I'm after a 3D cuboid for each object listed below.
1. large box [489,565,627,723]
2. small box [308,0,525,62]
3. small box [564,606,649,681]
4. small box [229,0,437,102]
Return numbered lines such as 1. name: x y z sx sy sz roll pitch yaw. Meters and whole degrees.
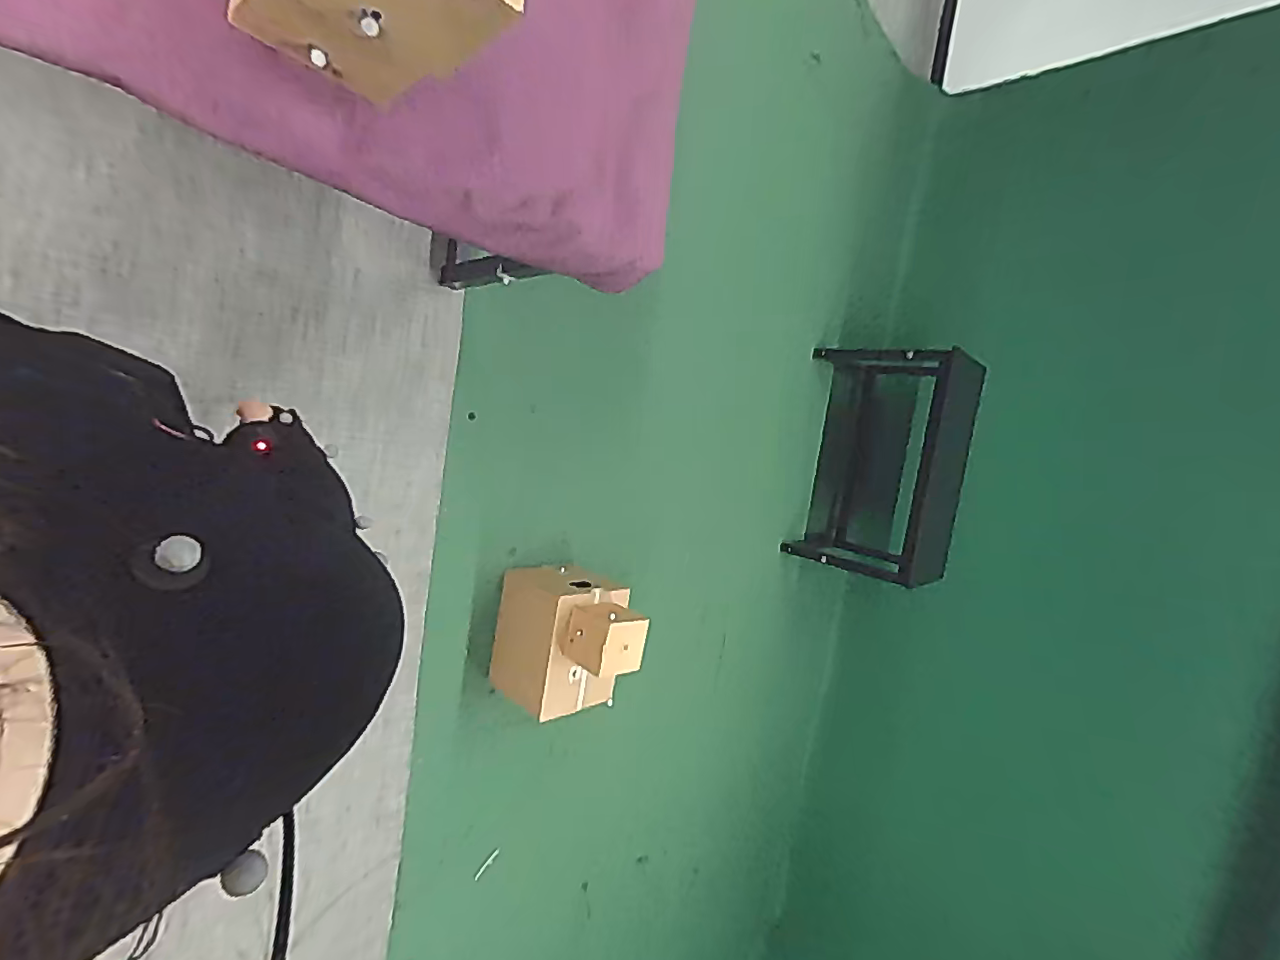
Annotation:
1. large box: -0.283 0.533 1.846 0.320 0.320 0.408 6 96 -46
2. small box: -0.209 -0.503 0.461 0.179 0.176 0.168 0 100 -46
3. small box: -0.105 0.494 1.666 0.179 0.176 0.168 9 94 -46
4. small box: -0.317 -0.557 0.576 0.168 0.176 0.179 5 96 -47
